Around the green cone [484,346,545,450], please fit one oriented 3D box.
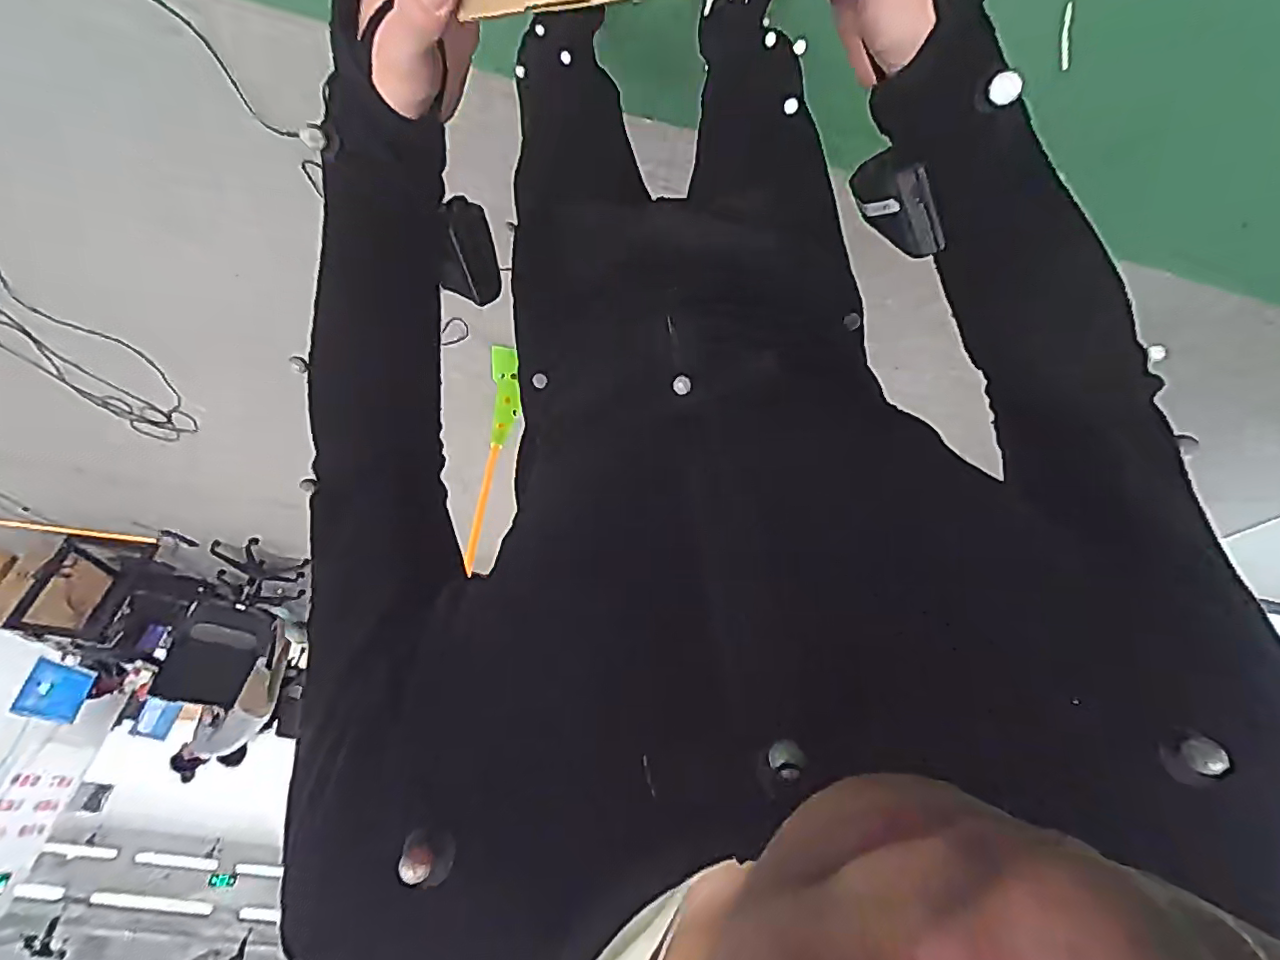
[{"bbox_3d":[-0.475,-0.263,1.902,0.202,0.368,0.200,13,147,-6],"label":"green cone"}]
